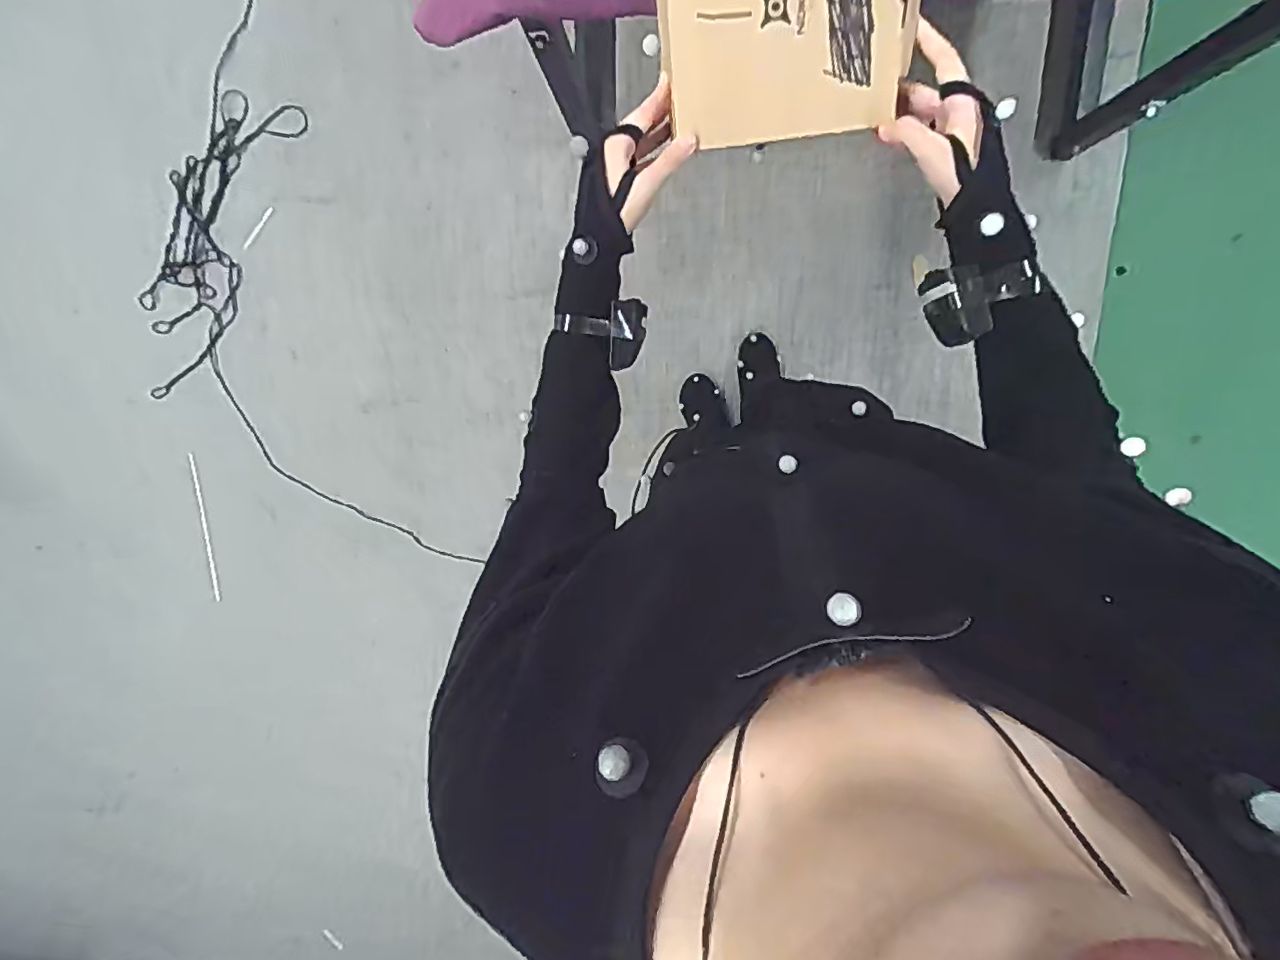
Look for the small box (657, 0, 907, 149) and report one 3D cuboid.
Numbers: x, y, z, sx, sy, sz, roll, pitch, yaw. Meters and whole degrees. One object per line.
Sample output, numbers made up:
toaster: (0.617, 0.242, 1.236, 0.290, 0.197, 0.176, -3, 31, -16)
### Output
small box: (0.107, -0.386, 0.458, 0.179, 0.176, 0.168, -5, 120, 4)
